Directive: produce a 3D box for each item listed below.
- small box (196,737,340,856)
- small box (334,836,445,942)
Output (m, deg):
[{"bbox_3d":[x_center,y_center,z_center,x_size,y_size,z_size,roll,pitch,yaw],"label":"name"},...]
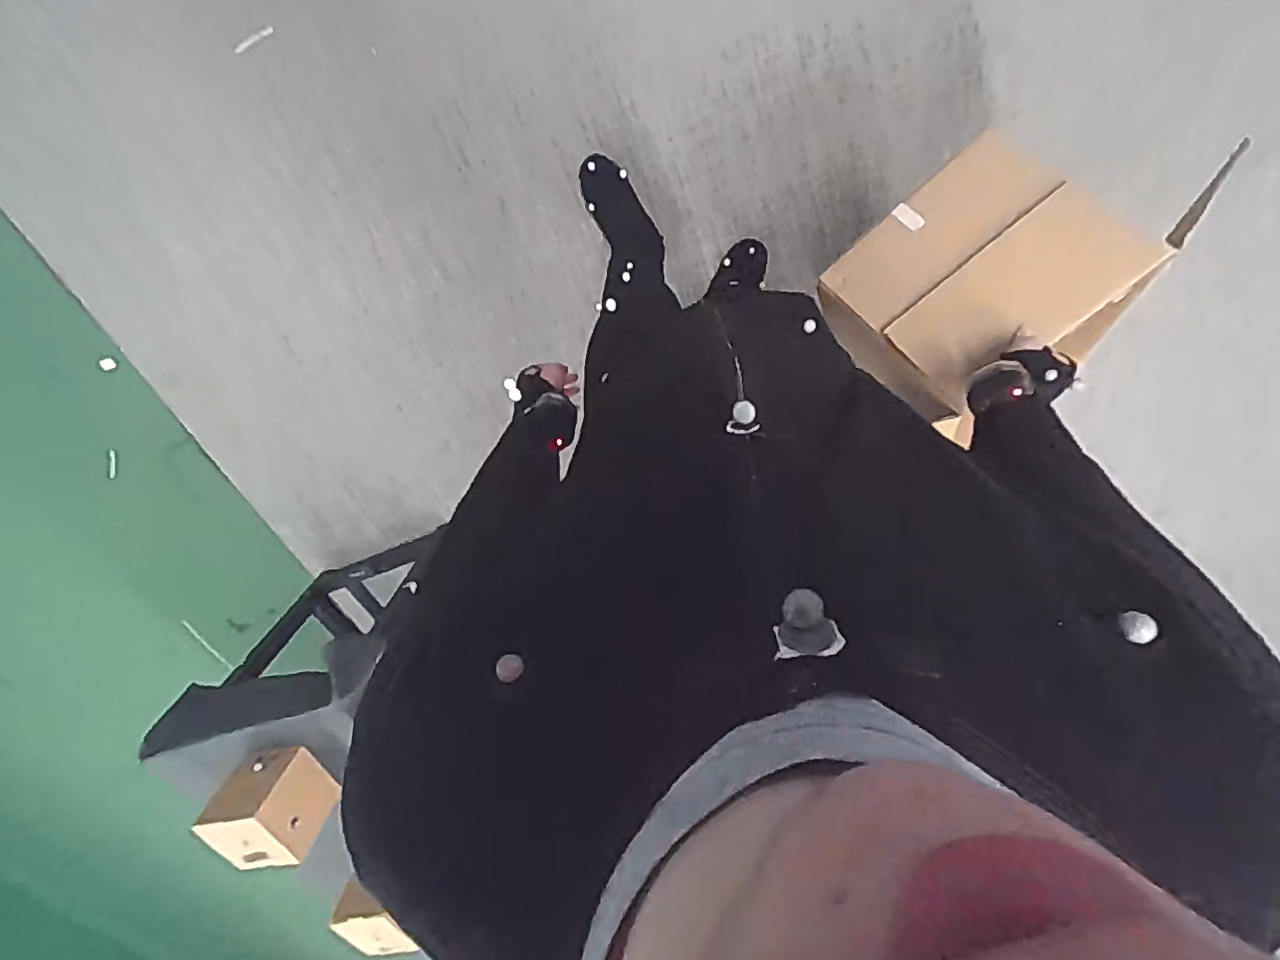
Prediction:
[{"bbox_3d":[-0.830,0.718,1.231,0.168,0.176,0.179,-13,117,11],"label":"small box"},{"bbox_3d":[-0.646,1.062,1.416,0.168,0.176,0.179,-17,116,13],"label":"small box"}]
